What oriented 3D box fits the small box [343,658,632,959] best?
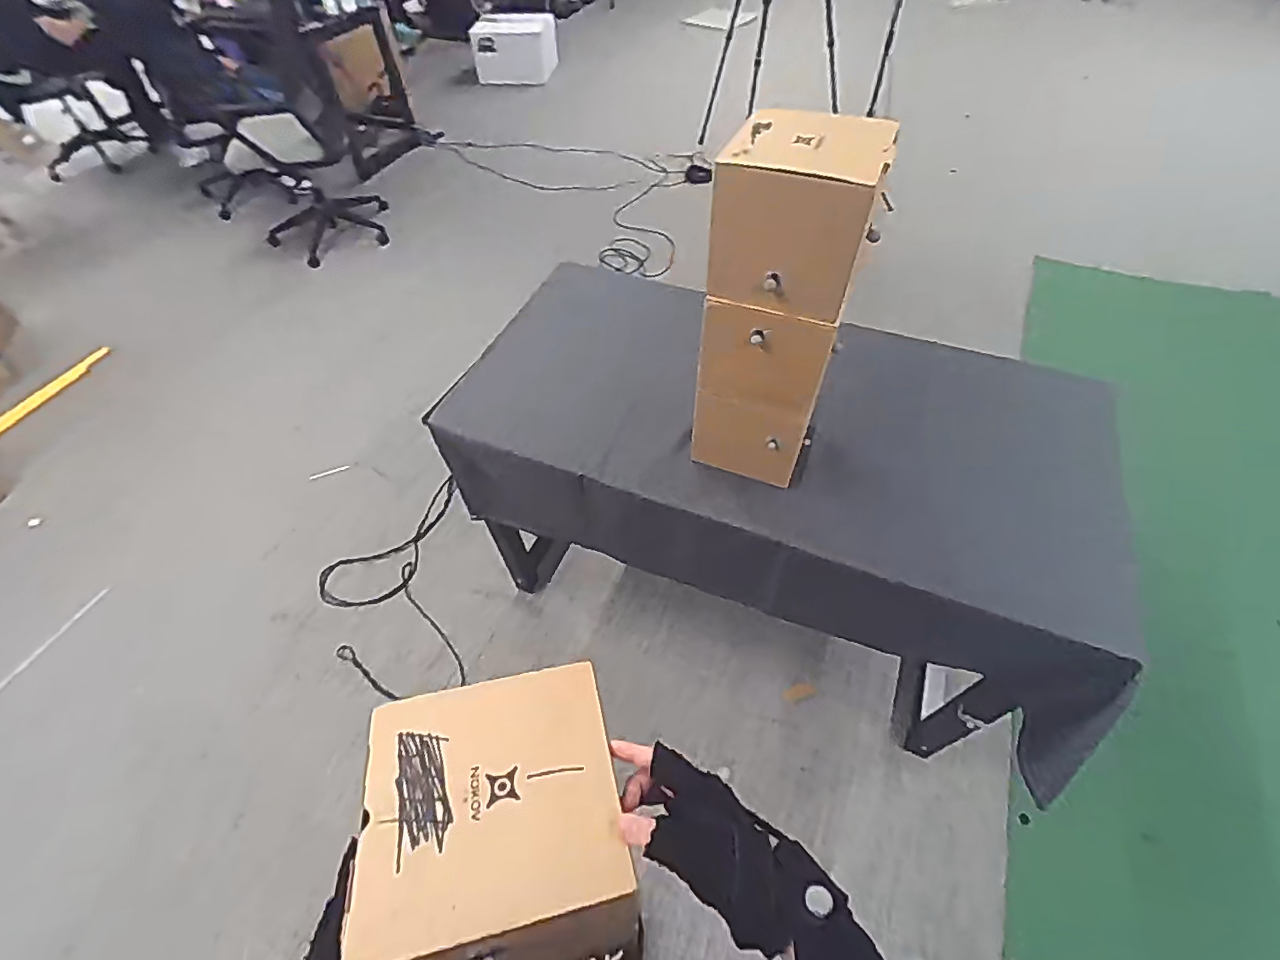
[{"bbox_3d":[-0.106,0.274,0.436,0.179,0.176,0.168,-7,41,-11],"label":"small box"}]

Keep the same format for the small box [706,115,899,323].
[{"bbox_3d":[0.194,-0.322,0.678,0.179,0.176,0.168,19,55,16],"label":"small box"}]

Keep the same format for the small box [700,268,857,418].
[{"bbox_3d":[0.199,-0.216,0.803,0.179,0.176,0.168,17,54,15],"label":"small box"}]
